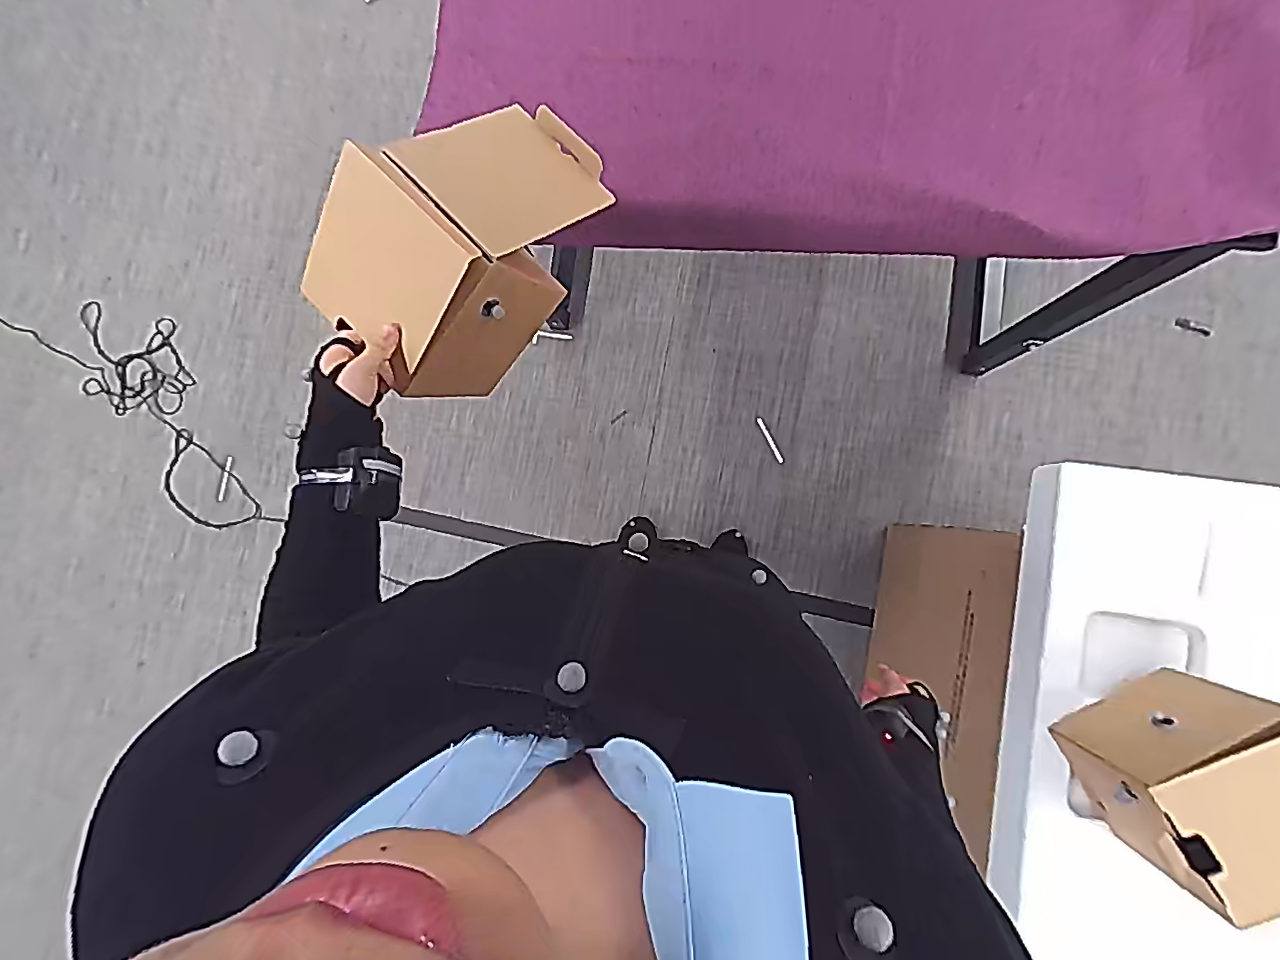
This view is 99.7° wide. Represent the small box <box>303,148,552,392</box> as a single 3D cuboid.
[{"bbox_3d":[-0.224,-0.219,0.616,0.168,0.176,0.179,46,108,6],"label":"small box"}]
